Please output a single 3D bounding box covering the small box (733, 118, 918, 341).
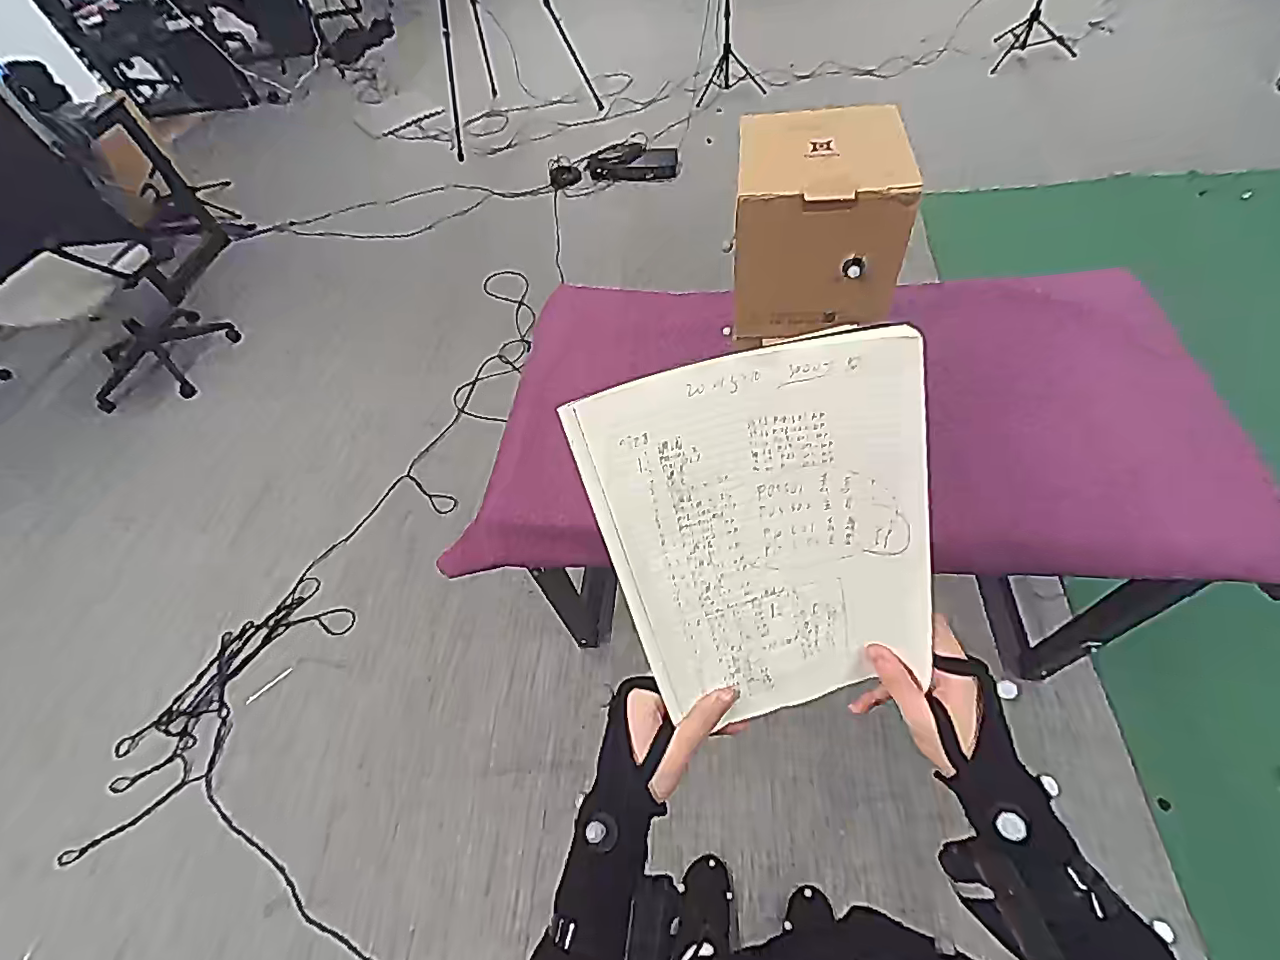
[{"bbox_3d":[0.193,-0.274,0.611,0.168,0.176,0.179,2,54,10],"label":"small box"}]

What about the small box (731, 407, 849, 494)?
[{"bbox_3d":[0.234,-0.092,0.881,0.168,0.176,0.179,1,55,9],"label":"small box"}]

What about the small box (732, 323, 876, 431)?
[{"bbox_3d":[0.214,-0.182,0.745,0.168,0.176,0.179,1,54,10],"label":"small box"}]
